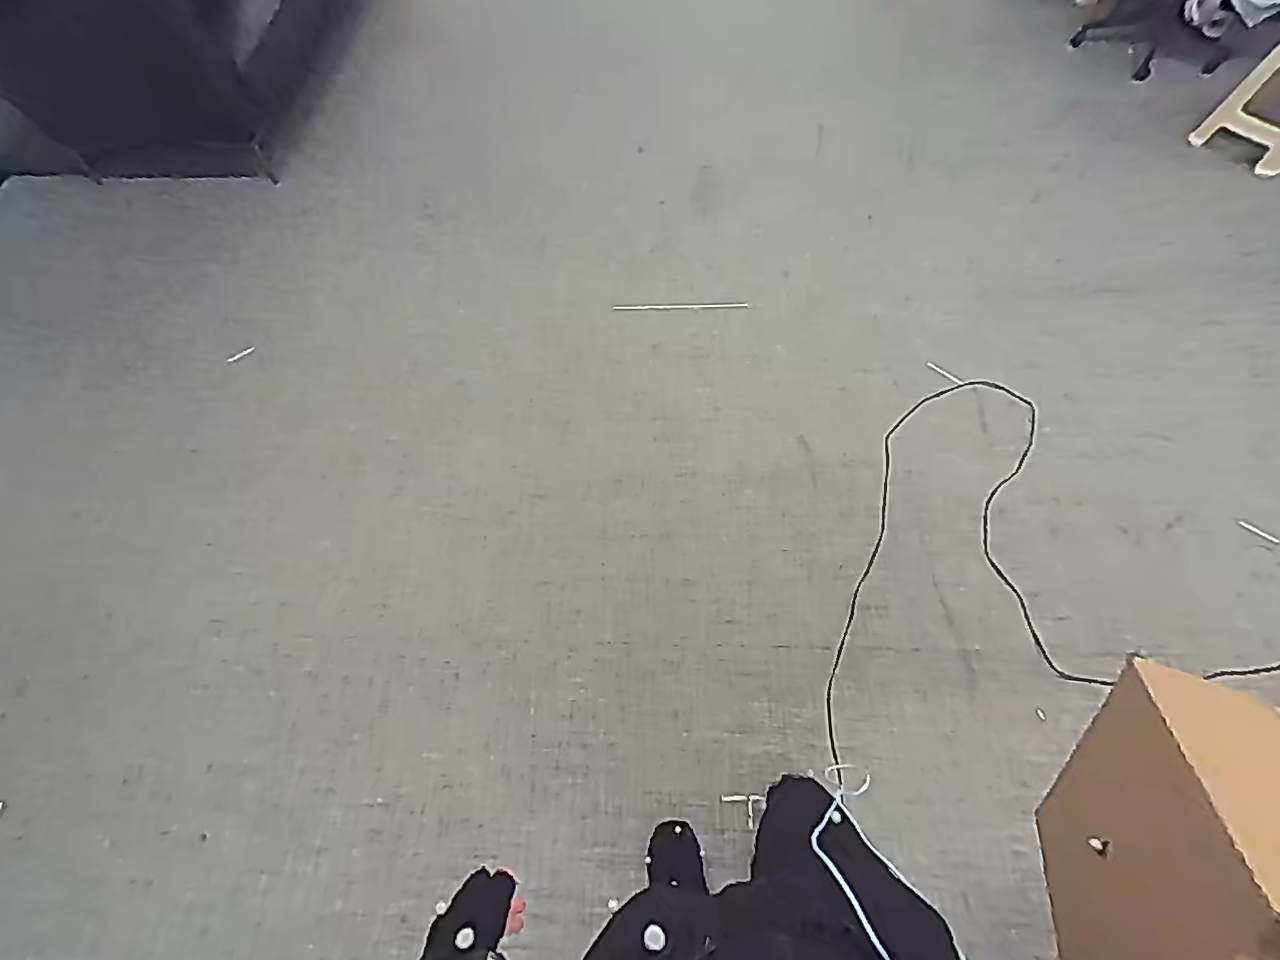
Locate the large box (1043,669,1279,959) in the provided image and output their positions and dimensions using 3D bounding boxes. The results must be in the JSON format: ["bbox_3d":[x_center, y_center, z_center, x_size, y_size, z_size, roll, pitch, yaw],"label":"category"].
[{"bbox_3d":[0.693,0.491,0.575,0.320,0.320,0.408,21,22,24],"label":"large box"}]
